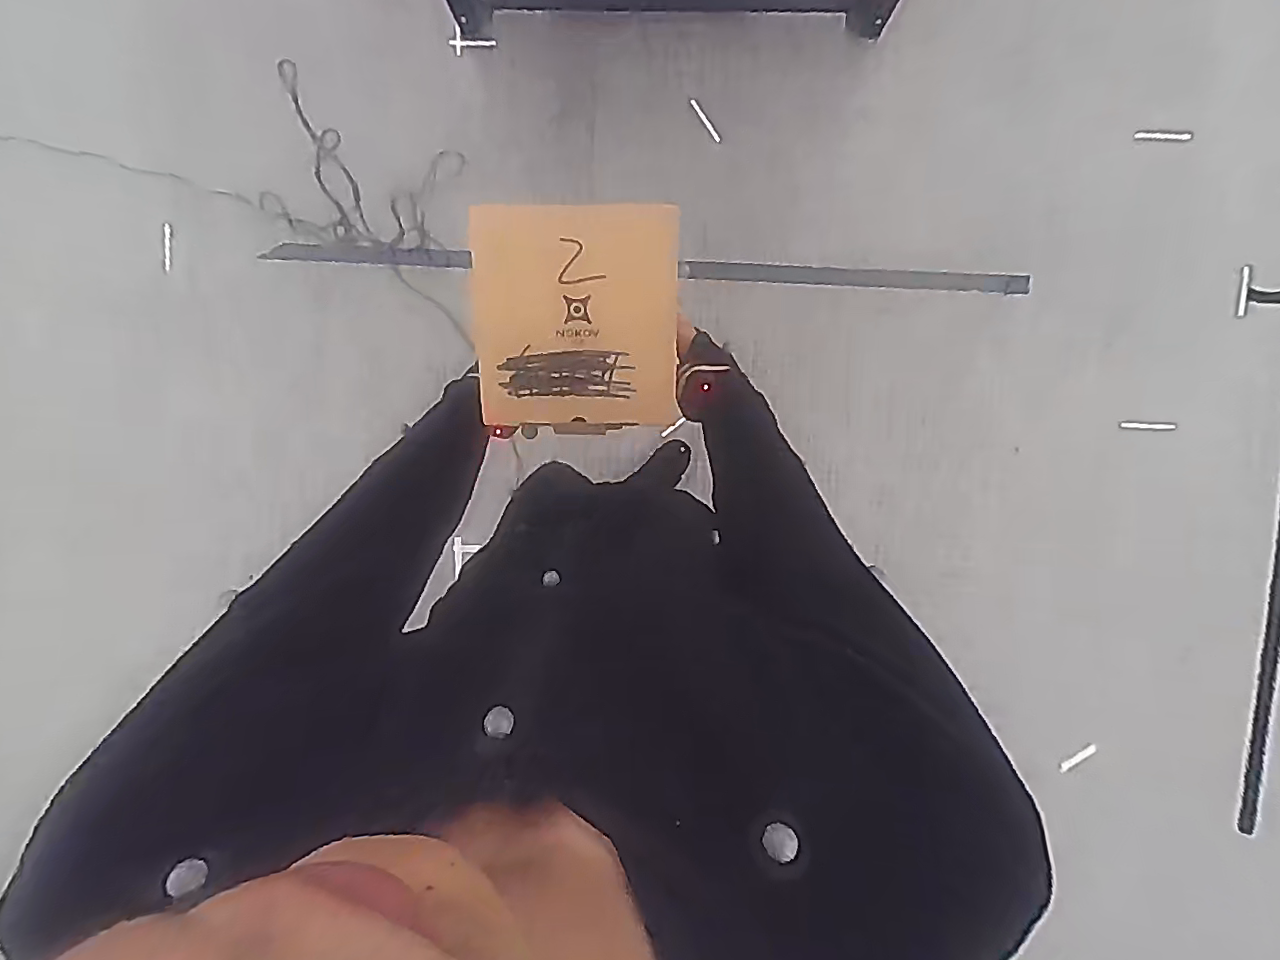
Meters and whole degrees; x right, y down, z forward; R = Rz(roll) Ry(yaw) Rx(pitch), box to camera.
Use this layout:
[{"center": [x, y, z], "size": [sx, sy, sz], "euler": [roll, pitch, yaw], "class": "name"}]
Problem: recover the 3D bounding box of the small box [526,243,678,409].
[{"center": [-0.039, -0.184, 0.674], "size": [0.168, 0.176, 0.179], "euler": [-2, 103, 2], "class": "small box"}]
